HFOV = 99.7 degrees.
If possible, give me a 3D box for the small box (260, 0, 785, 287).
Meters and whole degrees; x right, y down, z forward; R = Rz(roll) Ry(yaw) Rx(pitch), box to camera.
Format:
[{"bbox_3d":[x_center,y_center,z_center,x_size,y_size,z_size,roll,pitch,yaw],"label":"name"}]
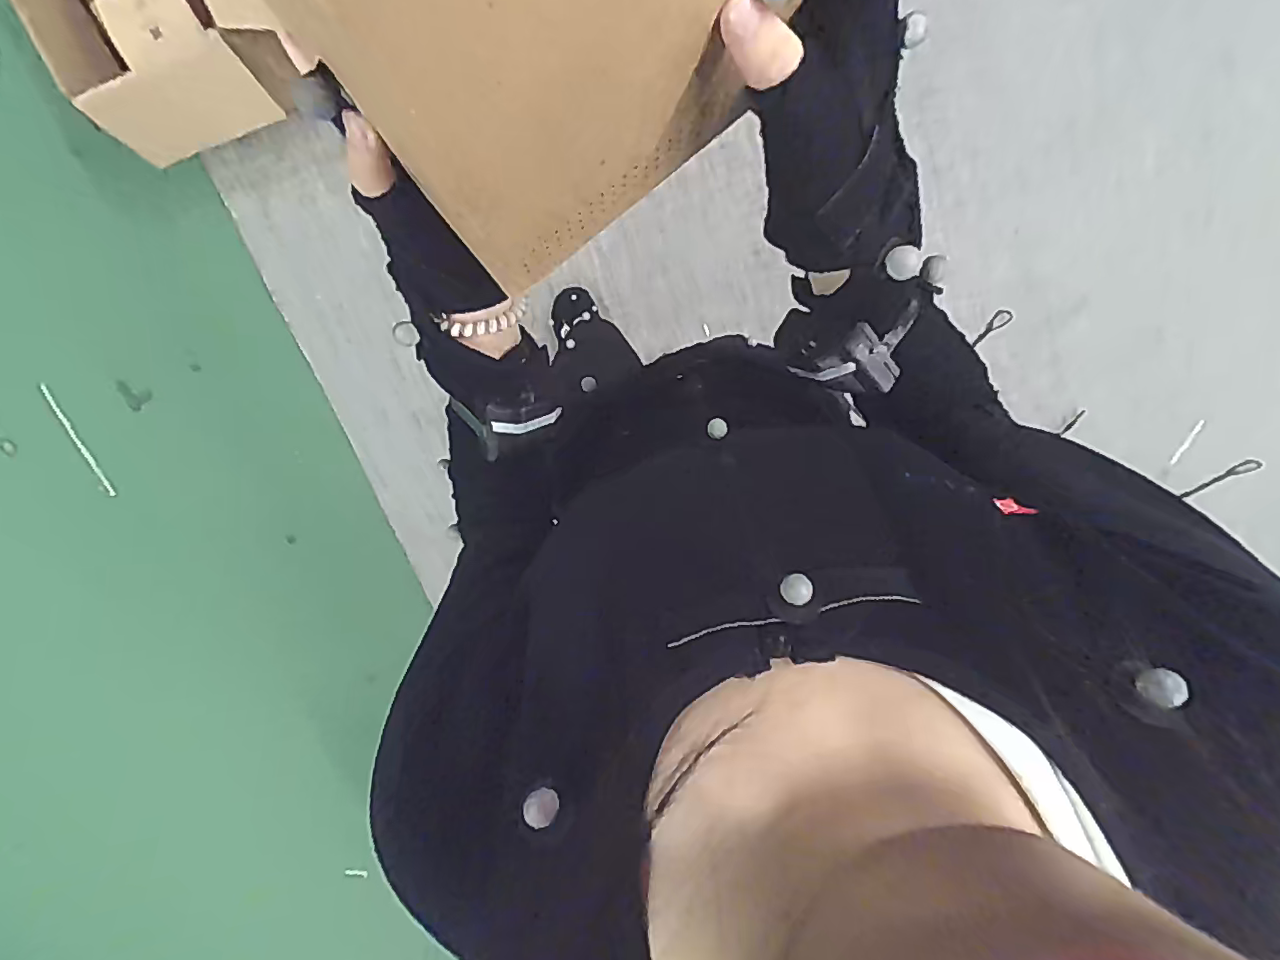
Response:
[{"bbox_3d":[-0.051,-0.207,0.192,0.179,0.176,0.168,-40,89,-1],"label":"small box"}]
